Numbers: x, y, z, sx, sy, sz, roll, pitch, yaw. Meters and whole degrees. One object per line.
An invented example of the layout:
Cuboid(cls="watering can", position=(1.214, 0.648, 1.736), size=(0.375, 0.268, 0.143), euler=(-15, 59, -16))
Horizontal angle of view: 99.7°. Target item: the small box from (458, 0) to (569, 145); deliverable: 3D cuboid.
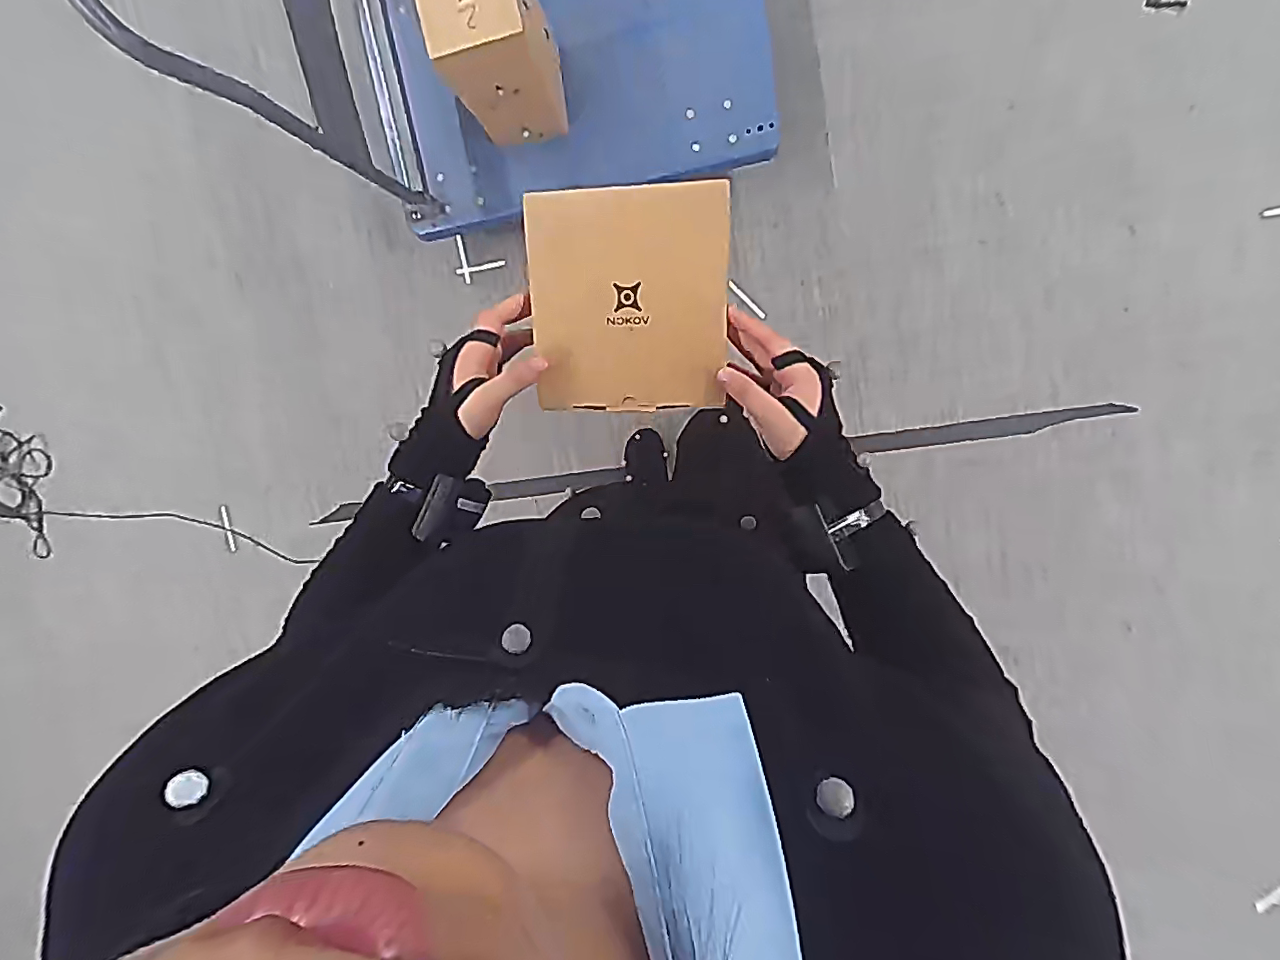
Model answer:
Cuboid(cls="small box", position=(-0.250, -0.825, 1.105), size=(0.168, 0.176, 0.179), euler=(-6, 98, 6))
